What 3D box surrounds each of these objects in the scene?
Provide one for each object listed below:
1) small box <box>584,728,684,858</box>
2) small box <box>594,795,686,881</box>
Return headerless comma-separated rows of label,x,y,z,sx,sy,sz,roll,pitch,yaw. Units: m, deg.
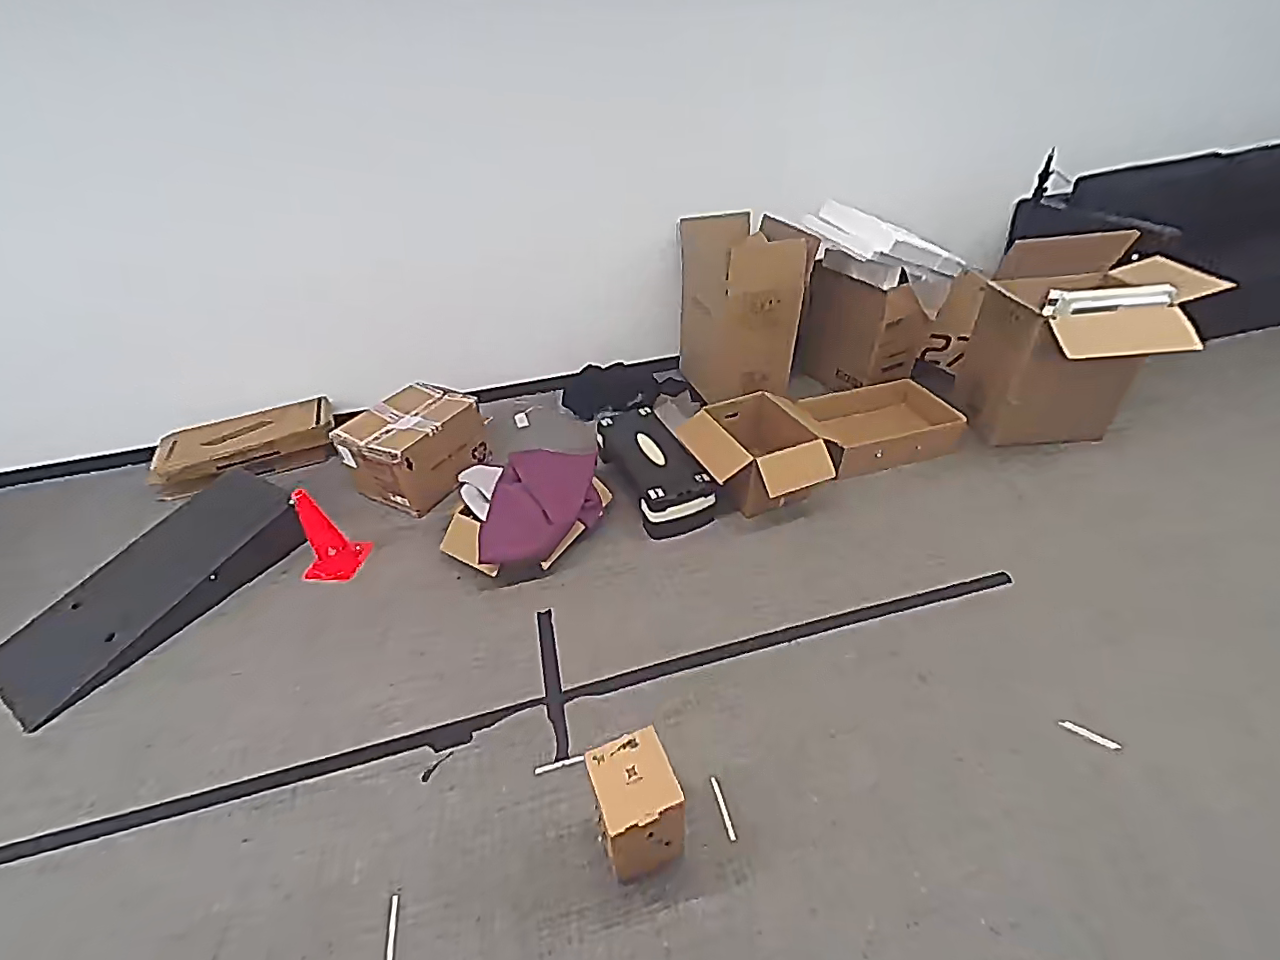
small box,-0.011,0.685,1.176,0.168,0.176,0.179,-16,41,-15
small box,-0.002,0.808,1.284,0.179,0.176,0.168,-16,40,-14
